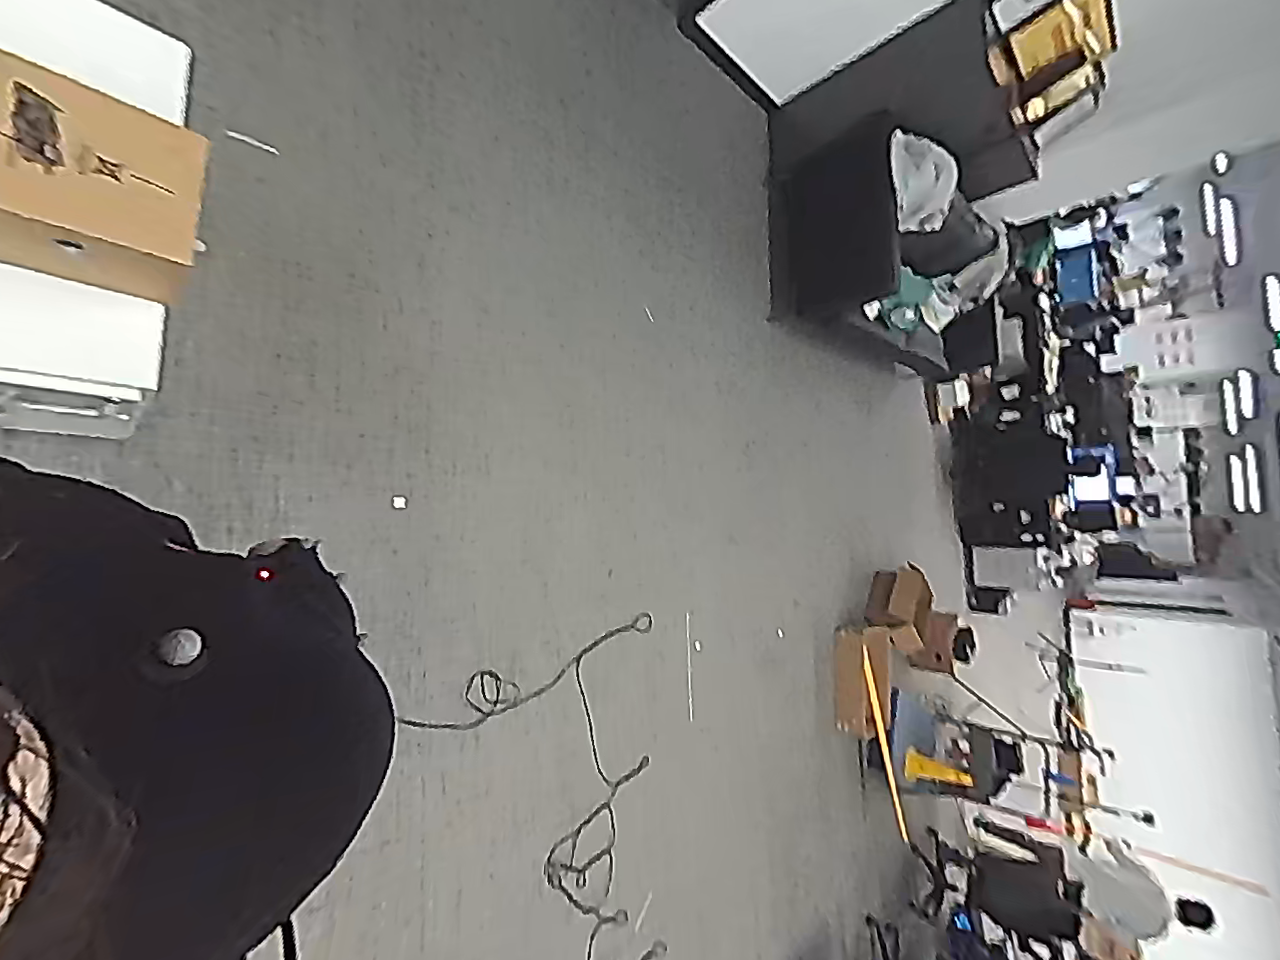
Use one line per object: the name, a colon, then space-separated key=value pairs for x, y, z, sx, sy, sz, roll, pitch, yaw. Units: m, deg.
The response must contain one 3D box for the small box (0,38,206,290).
small box: x=-0.645 y=-0.347 z=0.637 sx=0.179 sy=0.176 sz=0.168 roll=9 pitch=80 yaw=-45
